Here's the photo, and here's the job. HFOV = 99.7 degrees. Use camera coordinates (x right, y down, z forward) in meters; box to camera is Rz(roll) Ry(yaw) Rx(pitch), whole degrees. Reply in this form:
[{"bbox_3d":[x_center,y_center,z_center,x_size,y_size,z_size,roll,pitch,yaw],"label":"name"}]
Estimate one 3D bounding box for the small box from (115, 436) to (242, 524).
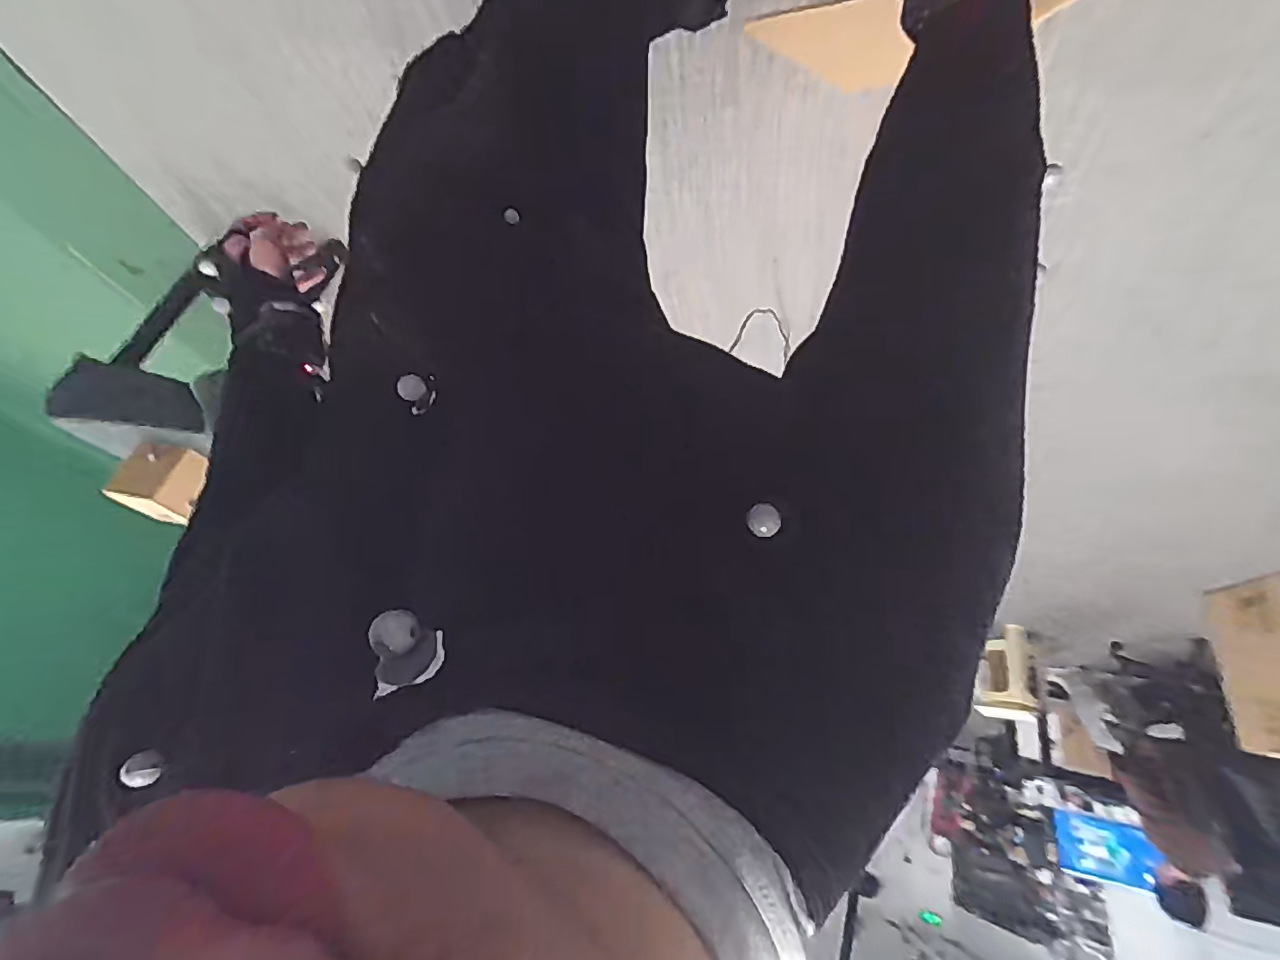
[{"bbox_3d":[-1.282,0.000,1.518,0.168,0.176,0.179,10,152,10],"label":"small box"}]
